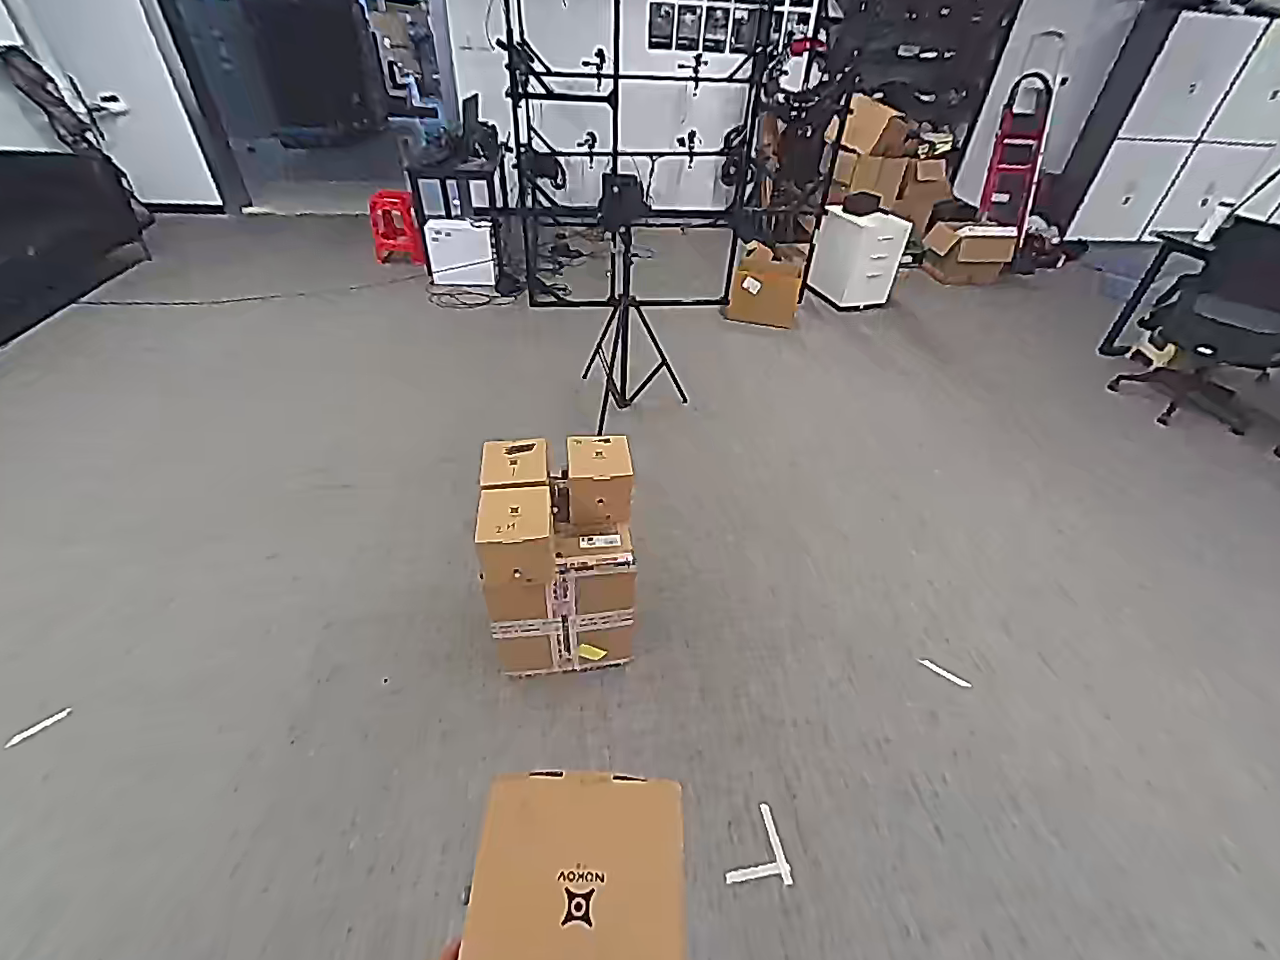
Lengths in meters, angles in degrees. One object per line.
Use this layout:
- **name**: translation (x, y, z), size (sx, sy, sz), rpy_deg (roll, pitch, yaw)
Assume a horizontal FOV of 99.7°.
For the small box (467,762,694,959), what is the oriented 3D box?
- **small box**: translation (-0.049, 0.371, 0.473), size (0.168, 0.176, 0.179), rpy_deg (5, 46, -3)
